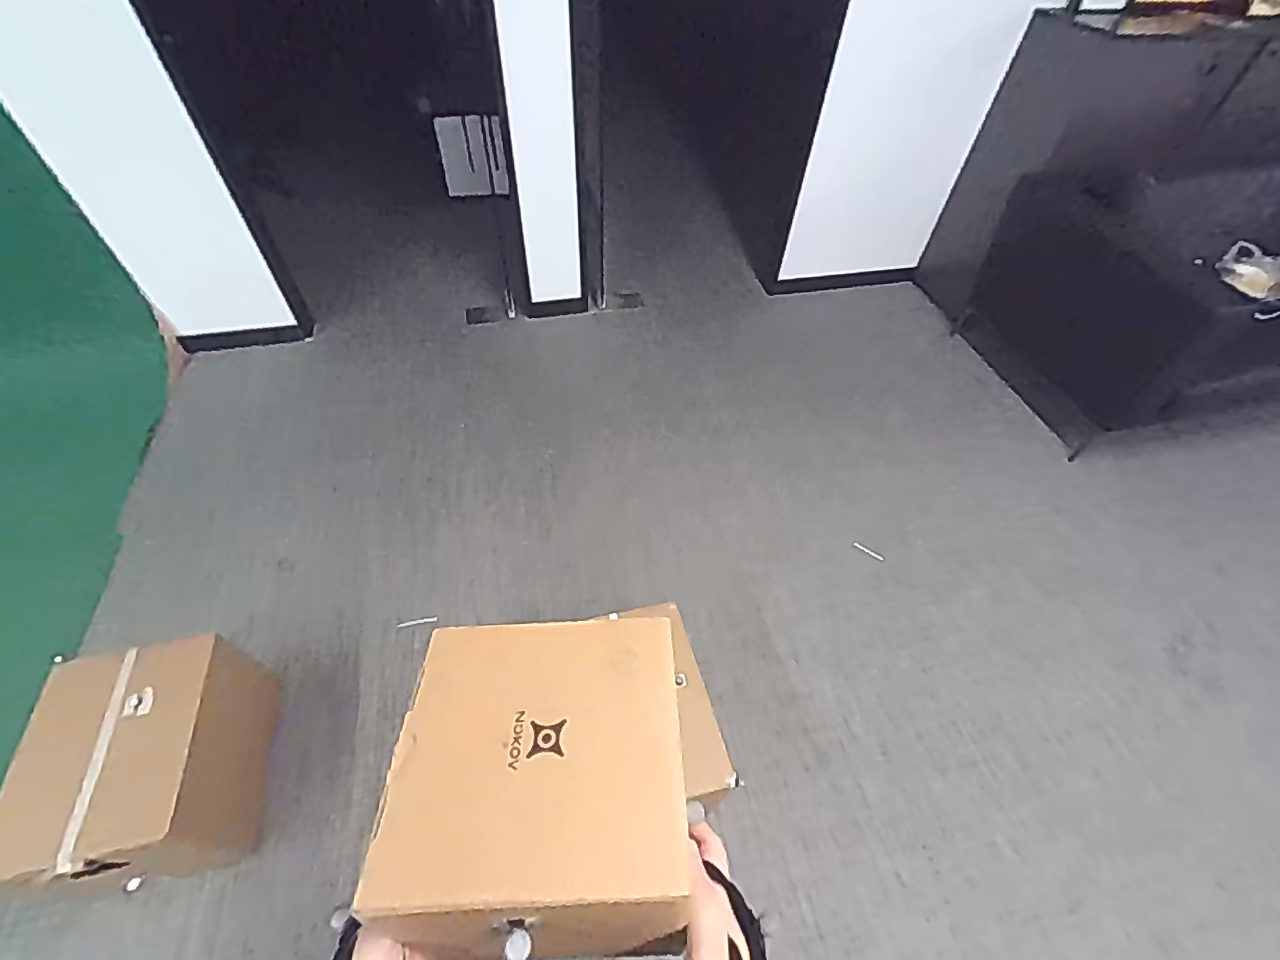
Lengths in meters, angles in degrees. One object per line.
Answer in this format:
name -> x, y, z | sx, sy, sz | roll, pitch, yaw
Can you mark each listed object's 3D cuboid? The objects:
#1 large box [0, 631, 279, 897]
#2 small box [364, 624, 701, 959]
large box -> -1.039, 0.605, 1.165 | 0.320, 0.320, 0.408 | -10, 51, -11
small box -> -0.055, 0.222, 0.388 | 0.179, 0.176, 0.168 | -3, 41, 1
